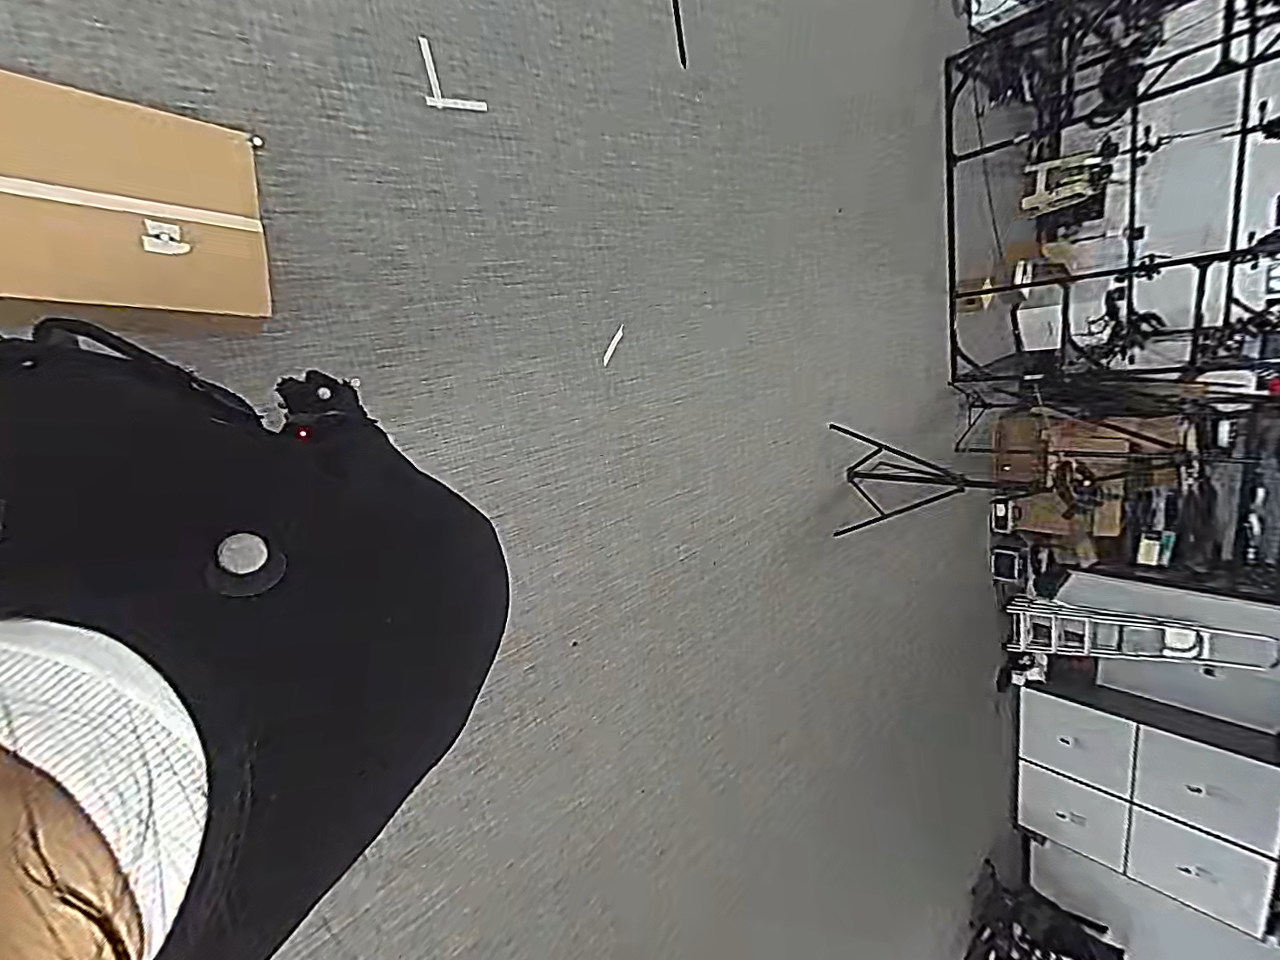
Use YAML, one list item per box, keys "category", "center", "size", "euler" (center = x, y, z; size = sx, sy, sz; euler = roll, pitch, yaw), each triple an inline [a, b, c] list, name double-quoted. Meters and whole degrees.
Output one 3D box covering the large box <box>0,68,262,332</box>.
- category: "large box"
  center: [-0.938, -0.446, 0.941]
  size: [0.408, 0.320, 0.320]
  euler: [-8, 100, -41]
